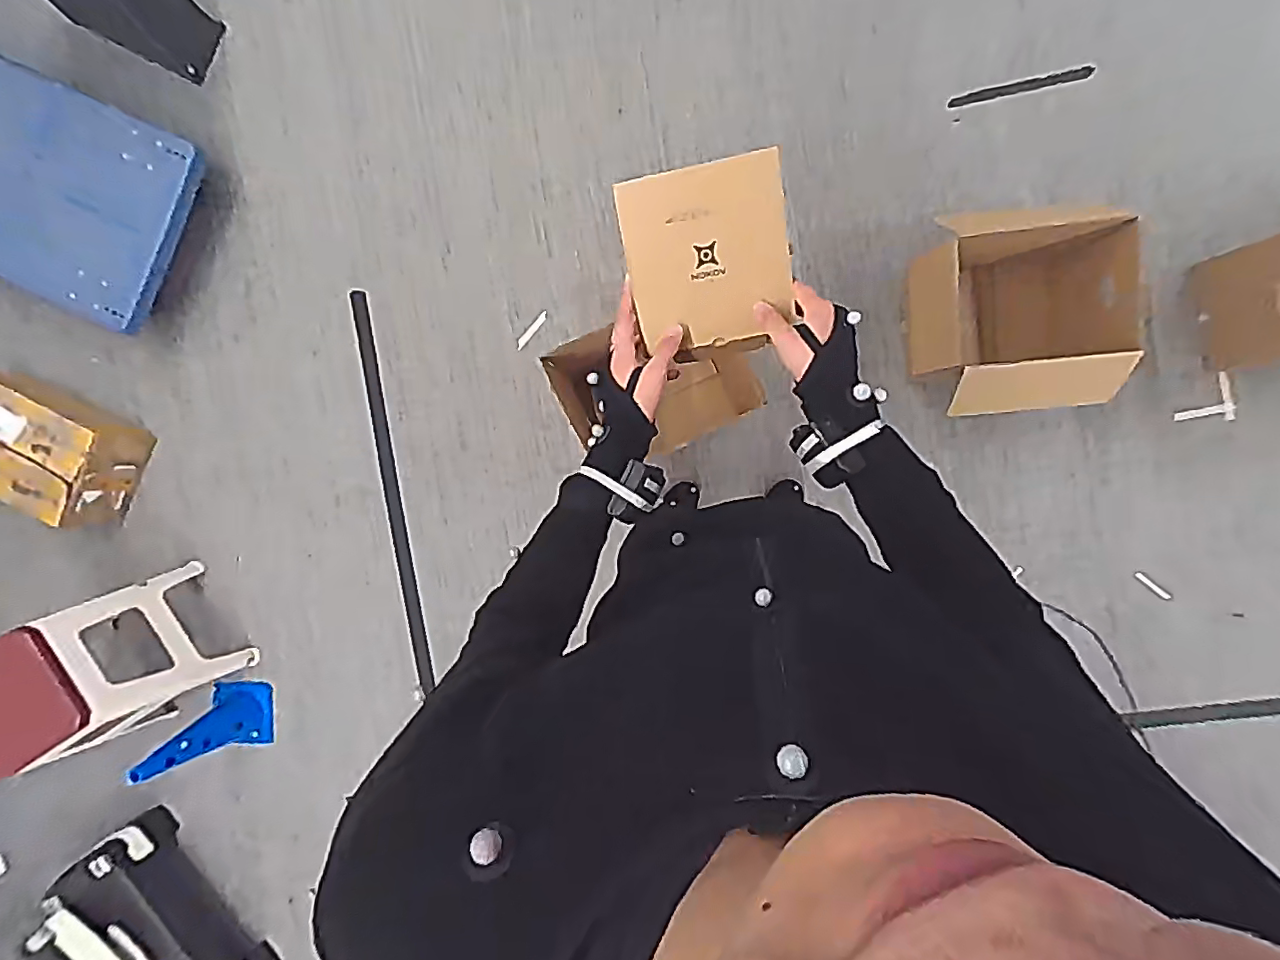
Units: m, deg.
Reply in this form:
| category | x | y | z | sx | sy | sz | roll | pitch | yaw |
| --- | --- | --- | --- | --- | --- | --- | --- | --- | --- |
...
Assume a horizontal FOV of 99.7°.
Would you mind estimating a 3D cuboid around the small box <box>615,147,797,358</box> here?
| category | x | y | z | sx | sy | sz | roll | pitch | yaw |
| --- | --- | --- | --- | --- | --- | --- | --- | --- | --- |
| small box | 0.075 | -0.246 | 0.618 | 0.168 | 0.176 | 0.179 | -9 | 106 | 6 |
